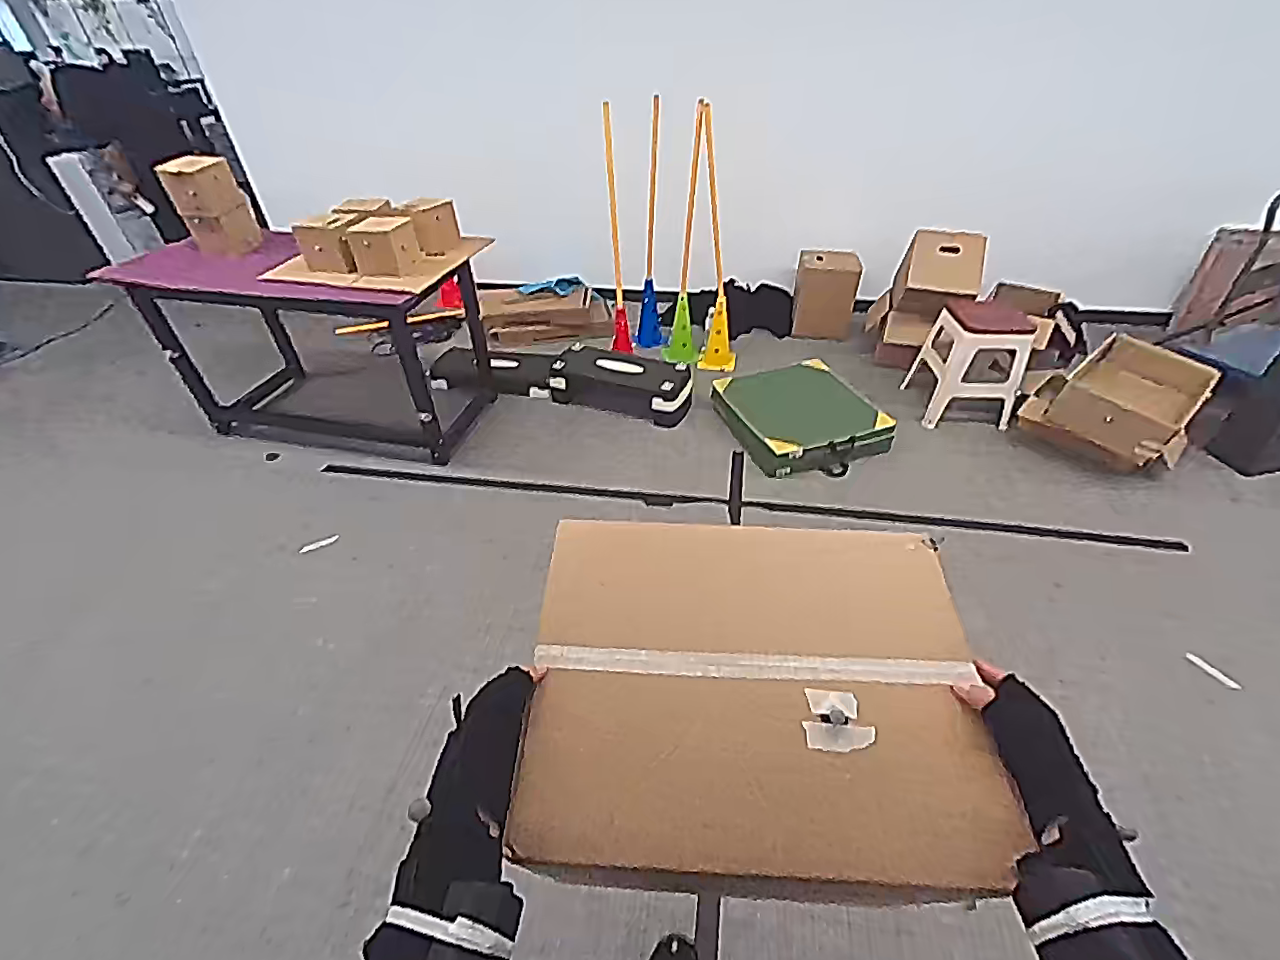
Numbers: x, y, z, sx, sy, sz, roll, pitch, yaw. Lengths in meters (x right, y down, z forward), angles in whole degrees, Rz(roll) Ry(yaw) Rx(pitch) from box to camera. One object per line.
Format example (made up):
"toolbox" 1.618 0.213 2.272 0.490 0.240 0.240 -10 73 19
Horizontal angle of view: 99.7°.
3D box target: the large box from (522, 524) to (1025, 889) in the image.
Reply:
"large box" 0.108 0.269 0.630 0.408 0.320 0.320 2 51 2
